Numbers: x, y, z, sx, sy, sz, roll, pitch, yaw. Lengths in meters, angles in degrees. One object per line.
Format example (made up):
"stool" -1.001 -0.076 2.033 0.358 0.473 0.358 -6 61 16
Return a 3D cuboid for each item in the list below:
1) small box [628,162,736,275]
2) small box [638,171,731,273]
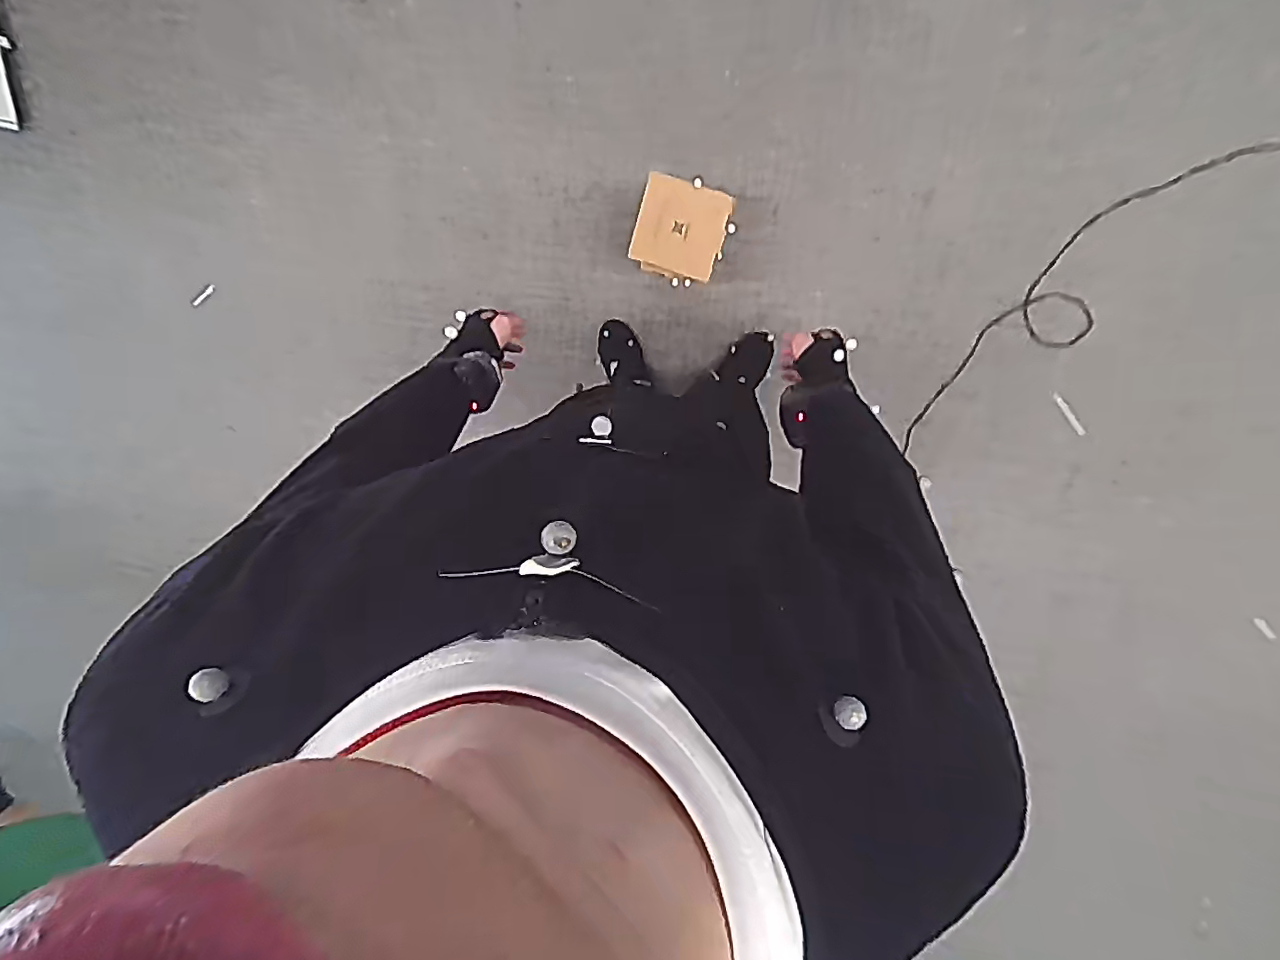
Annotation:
"small box" 0.093 -0.543 1.144 0.179 0.176 0.168 20 110 3
"small box" 0.113 -0.602 1.286 0.179 0.176 0.168 -13 106 15
